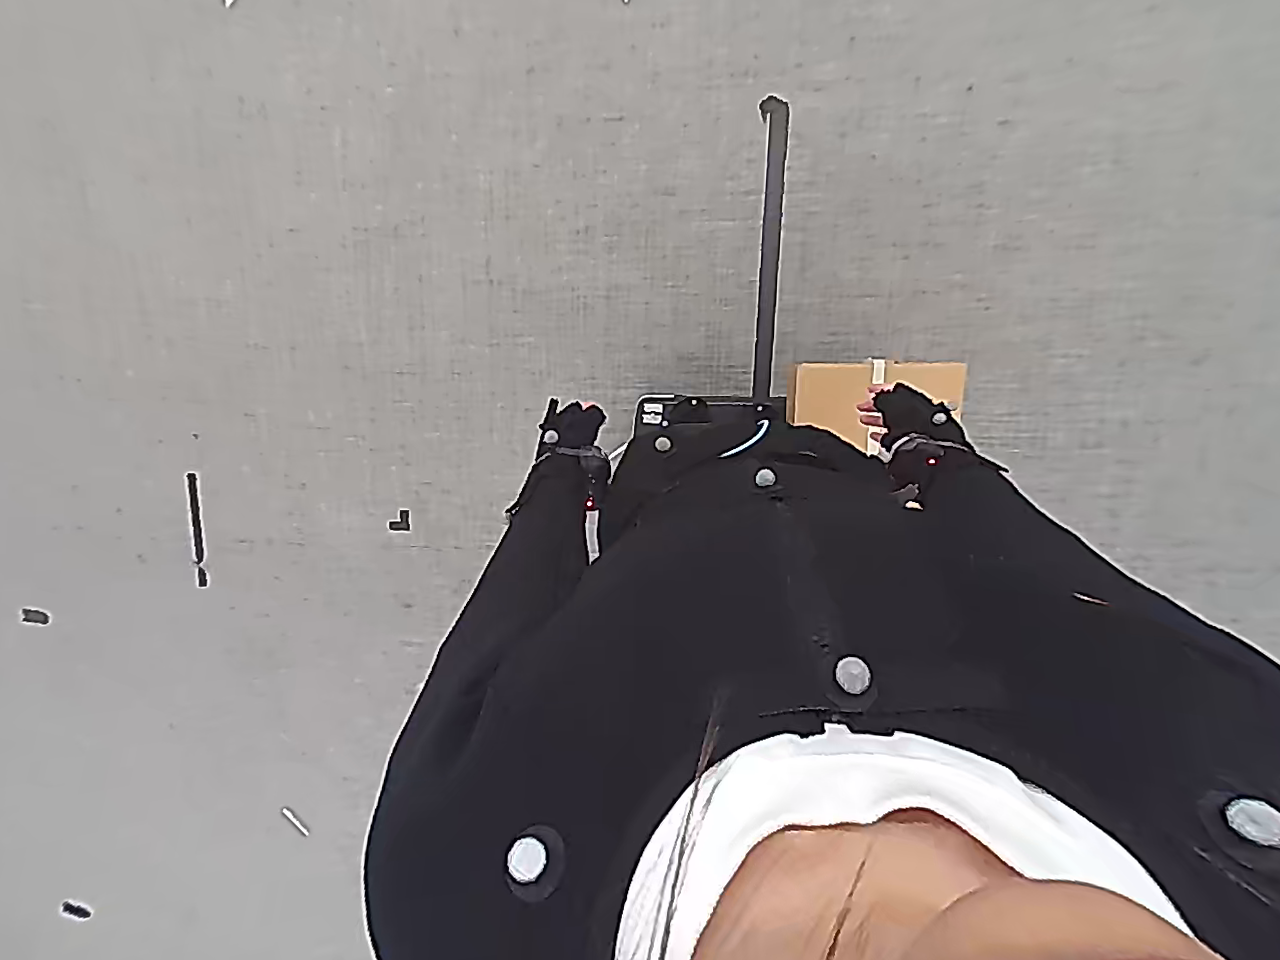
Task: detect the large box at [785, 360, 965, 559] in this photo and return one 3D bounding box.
[{"bbox_3d":[0.505,-0.066,1.244,0.320,0.320,0.408,2,102,13],"label":"large box"}]
